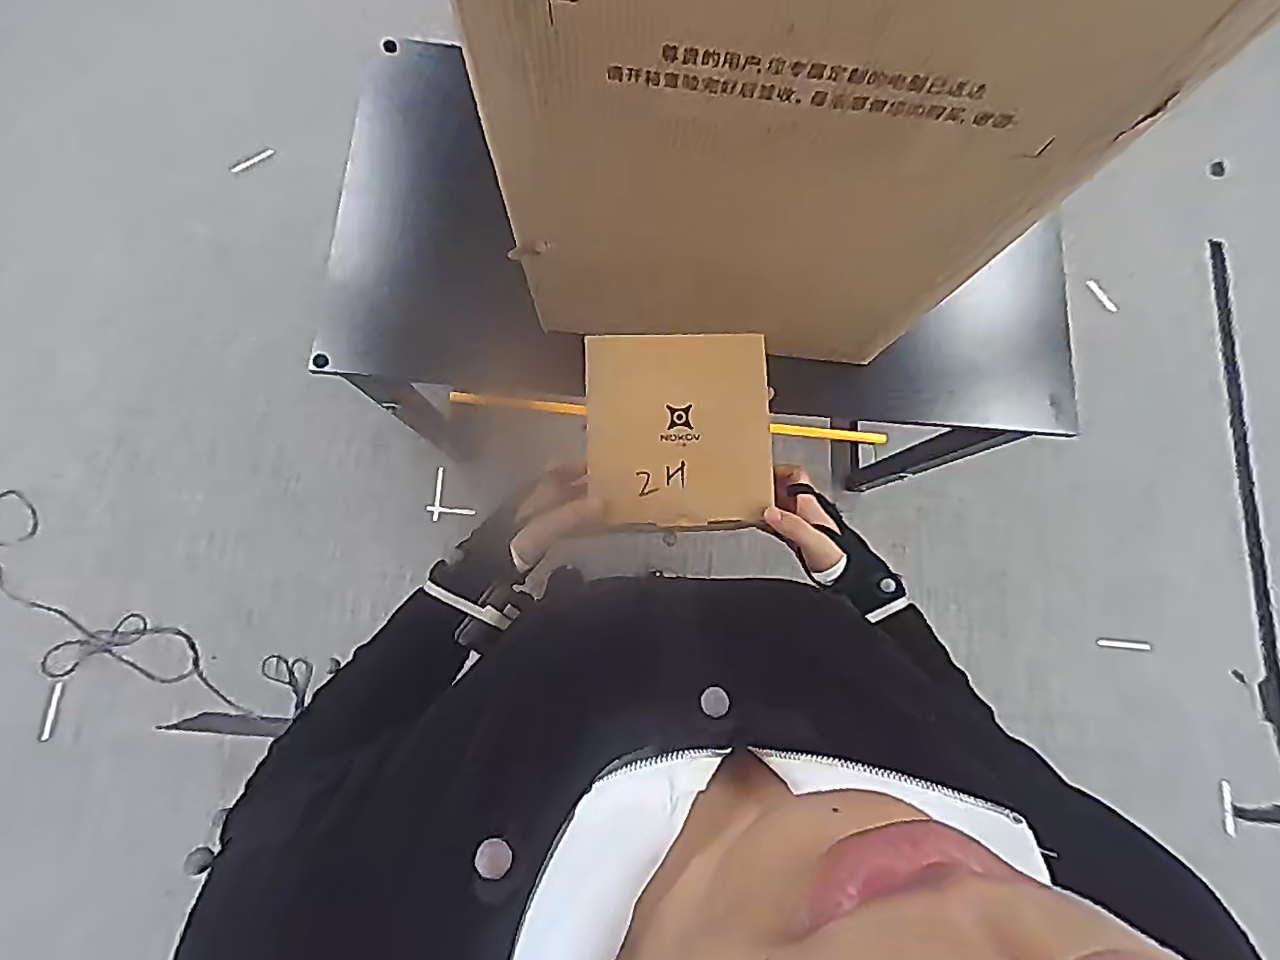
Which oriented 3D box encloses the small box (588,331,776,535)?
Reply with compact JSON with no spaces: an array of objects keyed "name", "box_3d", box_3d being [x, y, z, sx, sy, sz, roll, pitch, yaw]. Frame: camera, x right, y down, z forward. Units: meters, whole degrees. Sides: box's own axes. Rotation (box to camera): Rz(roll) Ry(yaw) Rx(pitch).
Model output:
[{"name":"small box","box_3d":[0.032,-0.036,0.556,0.168,0.176,0.179,-1,82,-2]}]
